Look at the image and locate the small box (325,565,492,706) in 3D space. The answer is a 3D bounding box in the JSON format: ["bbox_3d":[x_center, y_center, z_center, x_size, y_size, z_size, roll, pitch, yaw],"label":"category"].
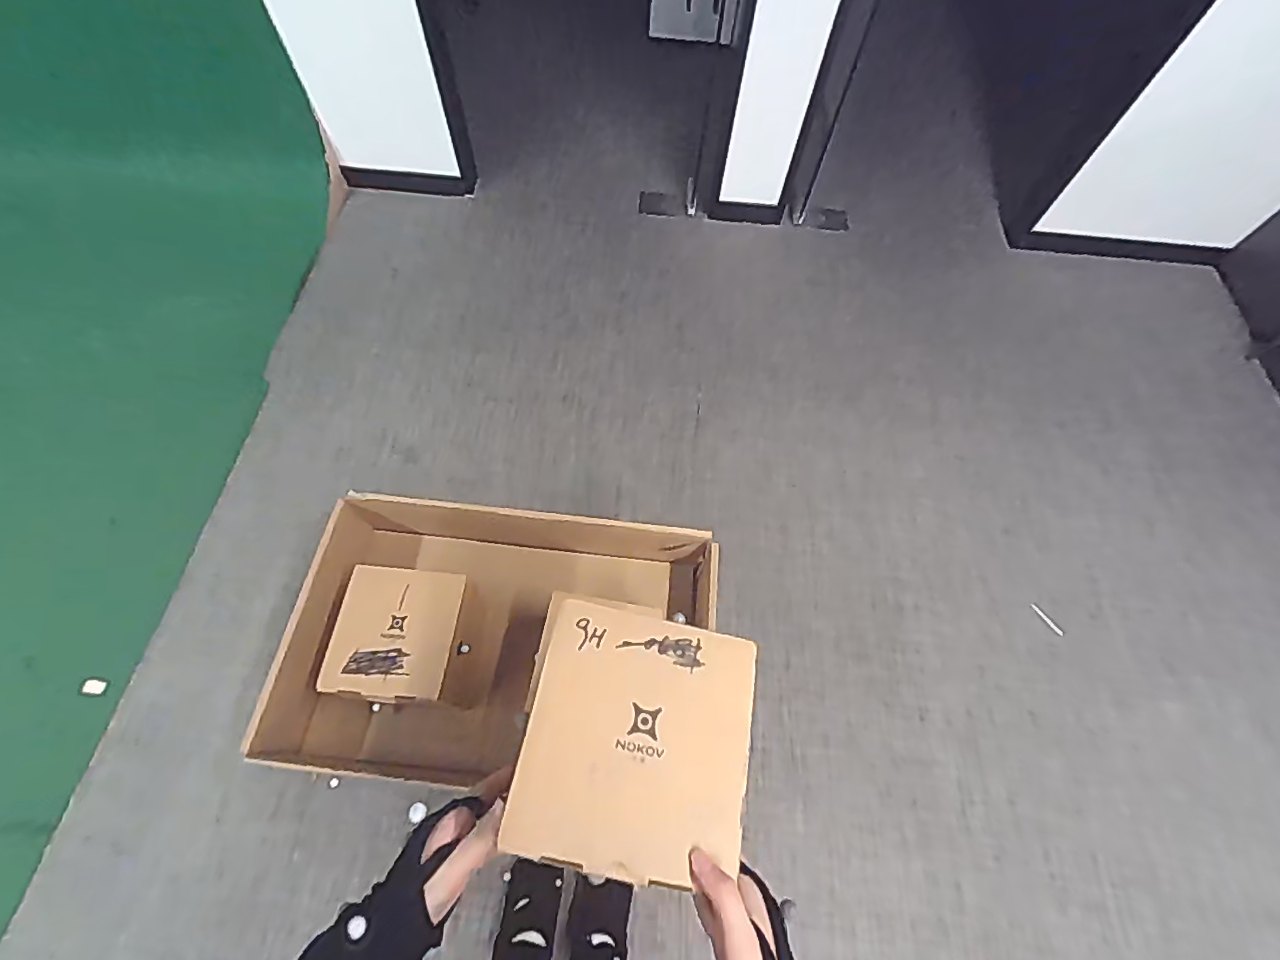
[{"bbox_3d":[-0.337,0.245,0.830,0.168,0.176,0.179,5,63,0],"label":"small box"}]

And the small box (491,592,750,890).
[{"bbox_3d":[-0.016,0.221,0.475,0.168,0.176,0.179,14,61,-2],"label":"small box"}]
